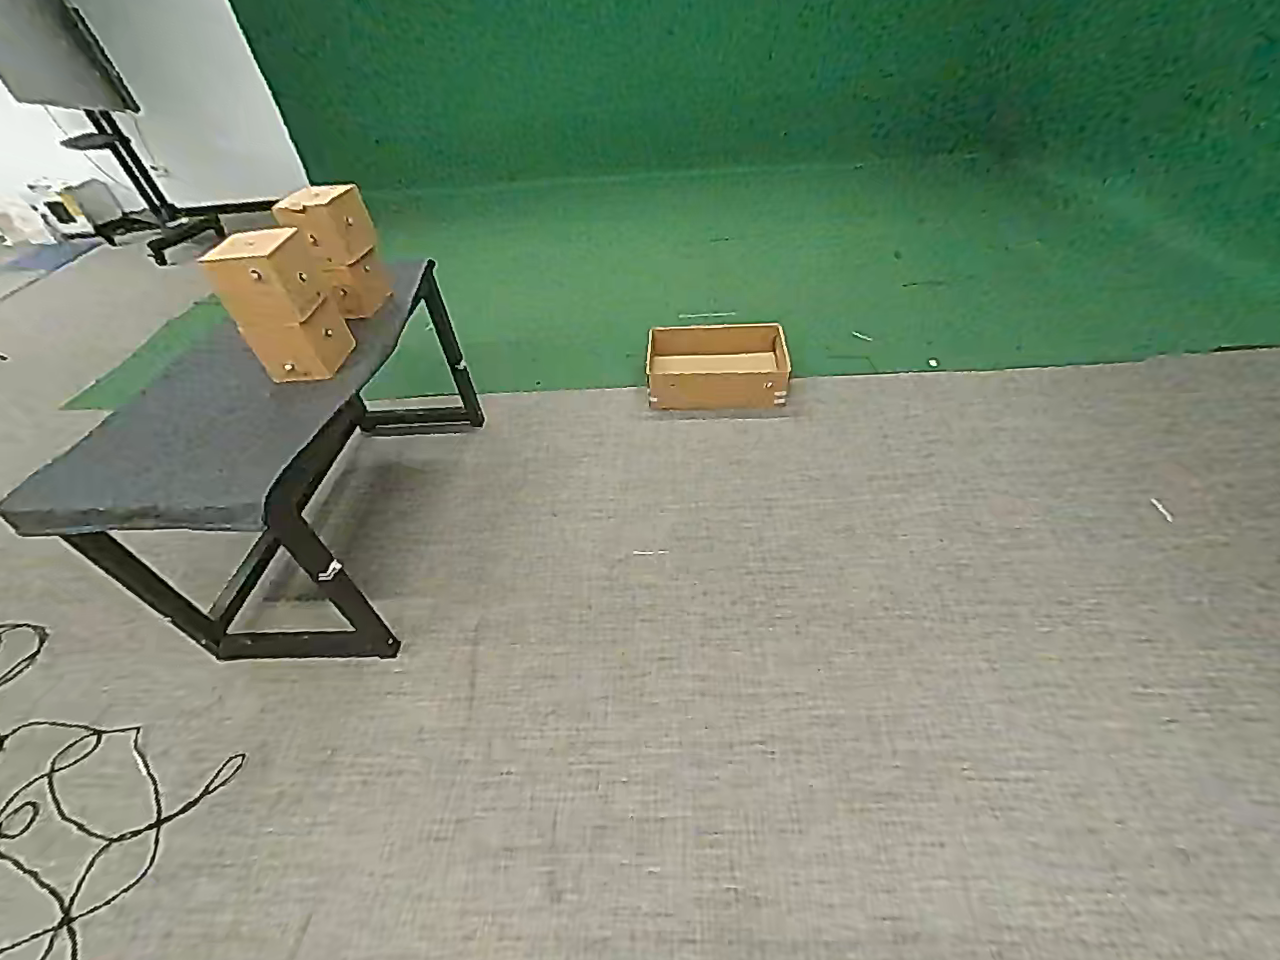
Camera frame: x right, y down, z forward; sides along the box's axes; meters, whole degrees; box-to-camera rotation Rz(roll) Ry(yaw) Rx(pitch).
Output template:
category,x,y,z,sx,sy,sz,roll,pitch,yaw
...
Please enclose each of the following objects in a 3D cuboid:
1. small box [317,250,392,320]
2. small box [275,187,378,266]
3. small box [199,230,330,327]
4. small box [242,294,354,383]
category,x,y,z,sx,sy,sz,roll,pitch,yaw
small box,-0.913,-0.616,1.698,0.168,0.176,0.179,1,44,7
small box,-0.909,-0.741,1.590,0.168,0.176,0.179,2,45,9
small box,-0.911,-0.494,1.336,0.179,0.176,0.168,-3,45,4
small box,-0.904,-0.379,1.454,0.168,0.176,0.179,-3,46,6
